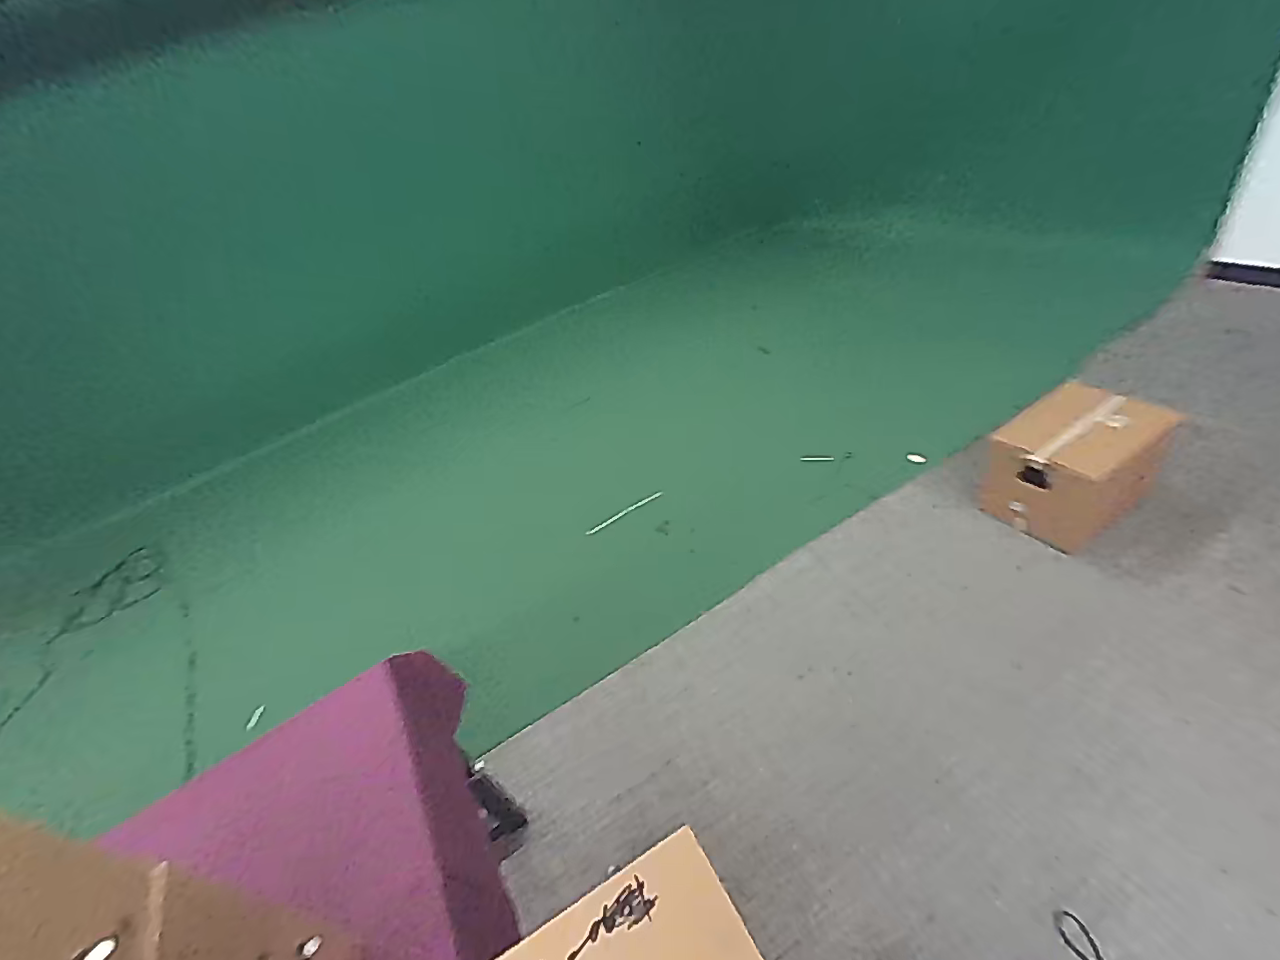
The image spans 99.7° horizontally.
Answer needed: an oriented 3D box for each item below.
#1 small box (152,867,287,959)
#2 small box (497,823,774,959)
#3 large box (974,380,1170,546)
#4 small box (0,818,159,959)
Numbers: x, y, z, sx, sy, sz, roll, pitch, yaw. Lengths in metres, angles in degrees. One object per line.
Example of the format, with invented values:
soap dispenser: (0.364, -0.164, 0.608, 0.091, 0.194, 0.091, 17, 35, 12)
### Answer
small box: (-0.459, 0.512, 0.490, 0.179, 0.176, 0.168, -32, 41, -17)
small box: (0.028, 0.388, 0.369, 0.168, 0.176, 0.179, -26, 40, -13)
large box: (1.359, -0.062, 1.737, 0.408, 0.320, 0.320, -30, 39, -15)
small box: (-0.505, 0.397, 0.385, 0.179, 0.176, 0.168, -34, 41, -18)
